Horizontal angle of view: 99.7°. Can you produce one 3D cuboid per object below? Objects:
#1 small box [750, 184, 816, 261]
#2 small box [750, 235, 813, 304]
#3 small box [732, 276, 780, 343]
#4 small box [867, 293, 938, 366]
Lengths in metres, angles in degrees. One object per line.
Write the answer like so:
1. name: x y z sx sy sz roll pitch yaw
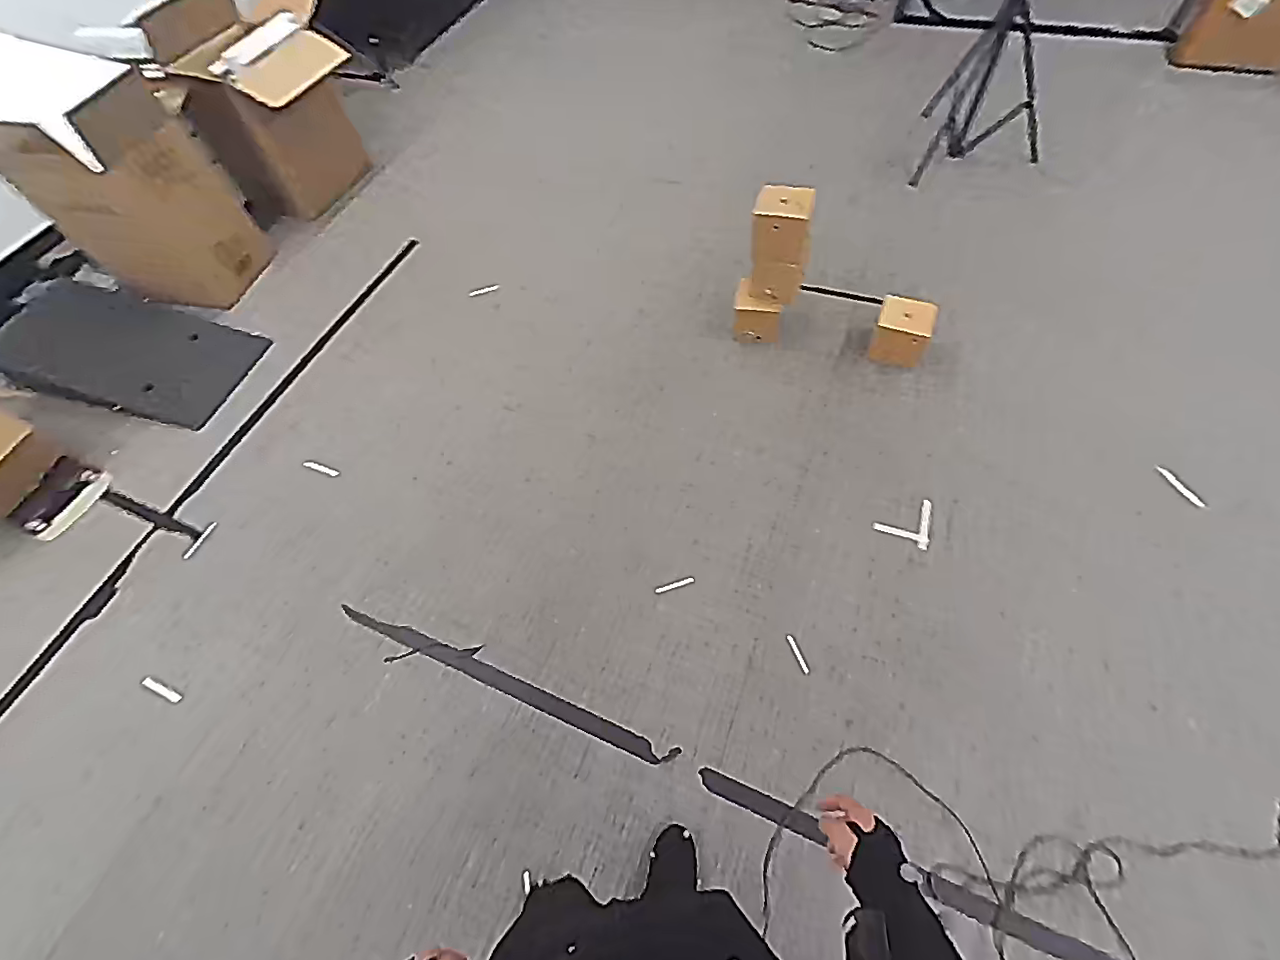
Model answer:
1. small box: 0.473 -0.856 1.804 0.179 0.176 0.168 14 61 14
2. small box: 0.502 -0.767 1.940 0.168 0.176 0.179 20 64 18
3. small box: 0.446 -0.651 2.068 0.168 0.176 0.179 7 61 11
4. small box: 0.941 -0.539 1.951 0.179 0.176 0.168 18 63 15
